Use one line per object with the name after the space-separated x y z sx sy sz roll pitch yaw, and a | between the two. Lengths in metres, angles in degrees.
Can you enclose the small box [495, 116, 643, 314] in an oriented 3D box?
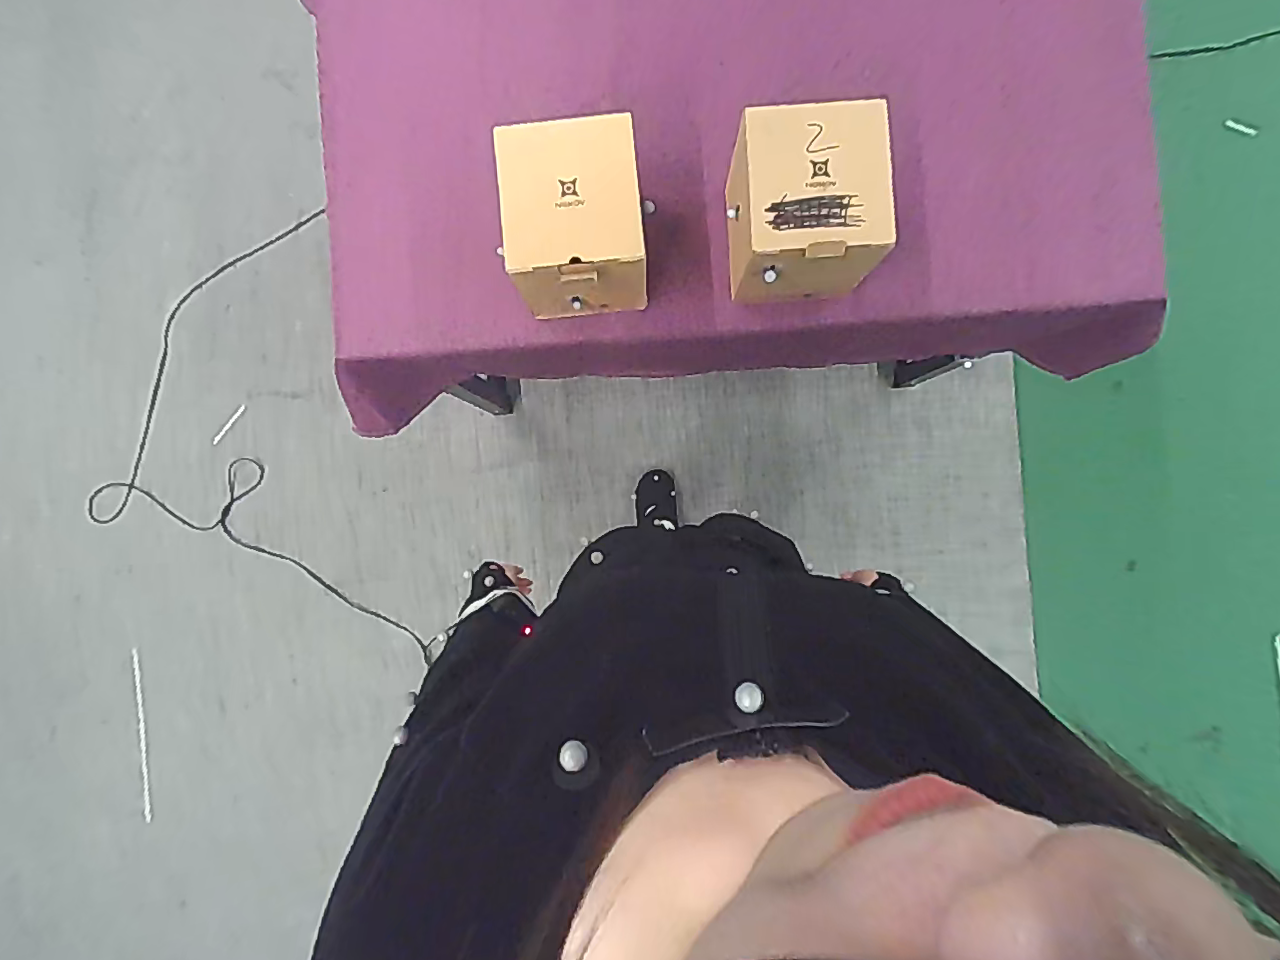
-0.086 -0.341 0.724 0.168 0.176 0.179 -6 89 1 | small box
